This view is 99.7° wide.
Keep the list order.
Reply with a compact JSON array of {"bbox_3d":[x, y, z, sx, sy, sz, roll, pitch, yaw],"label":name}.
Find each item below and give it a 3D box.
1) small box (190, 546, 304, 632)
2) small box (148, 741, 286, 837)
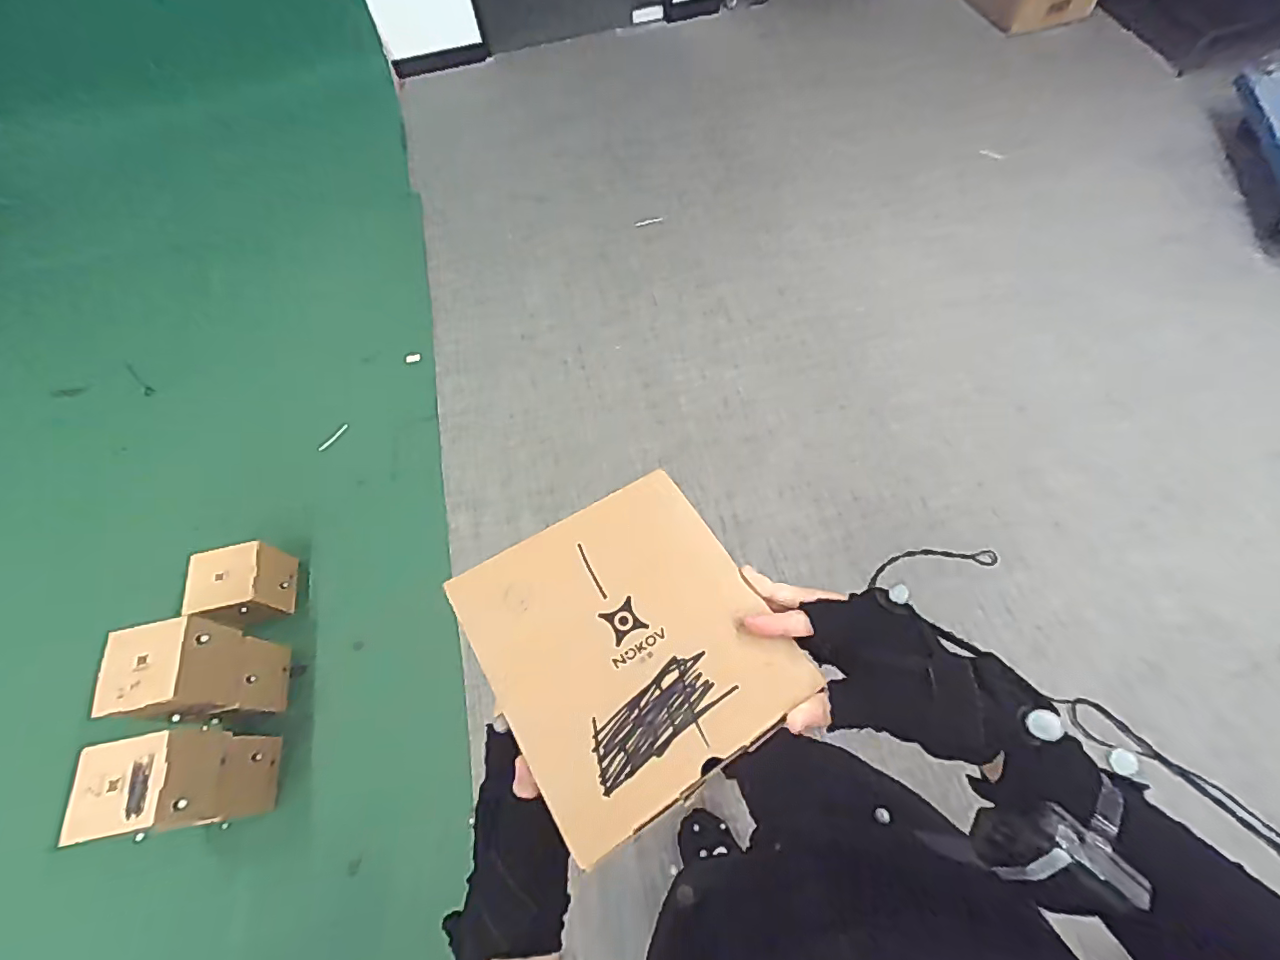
[{"bbox_3d":[-1.050,0.299,1.458,0.179,0.176,0.168,-14,62,-3],"label":"small box"},{"bbox_3d":[-0.955,0.701,1.243,0.179,0.176,0.168,-10,62,-1],"label":"small box"}]
